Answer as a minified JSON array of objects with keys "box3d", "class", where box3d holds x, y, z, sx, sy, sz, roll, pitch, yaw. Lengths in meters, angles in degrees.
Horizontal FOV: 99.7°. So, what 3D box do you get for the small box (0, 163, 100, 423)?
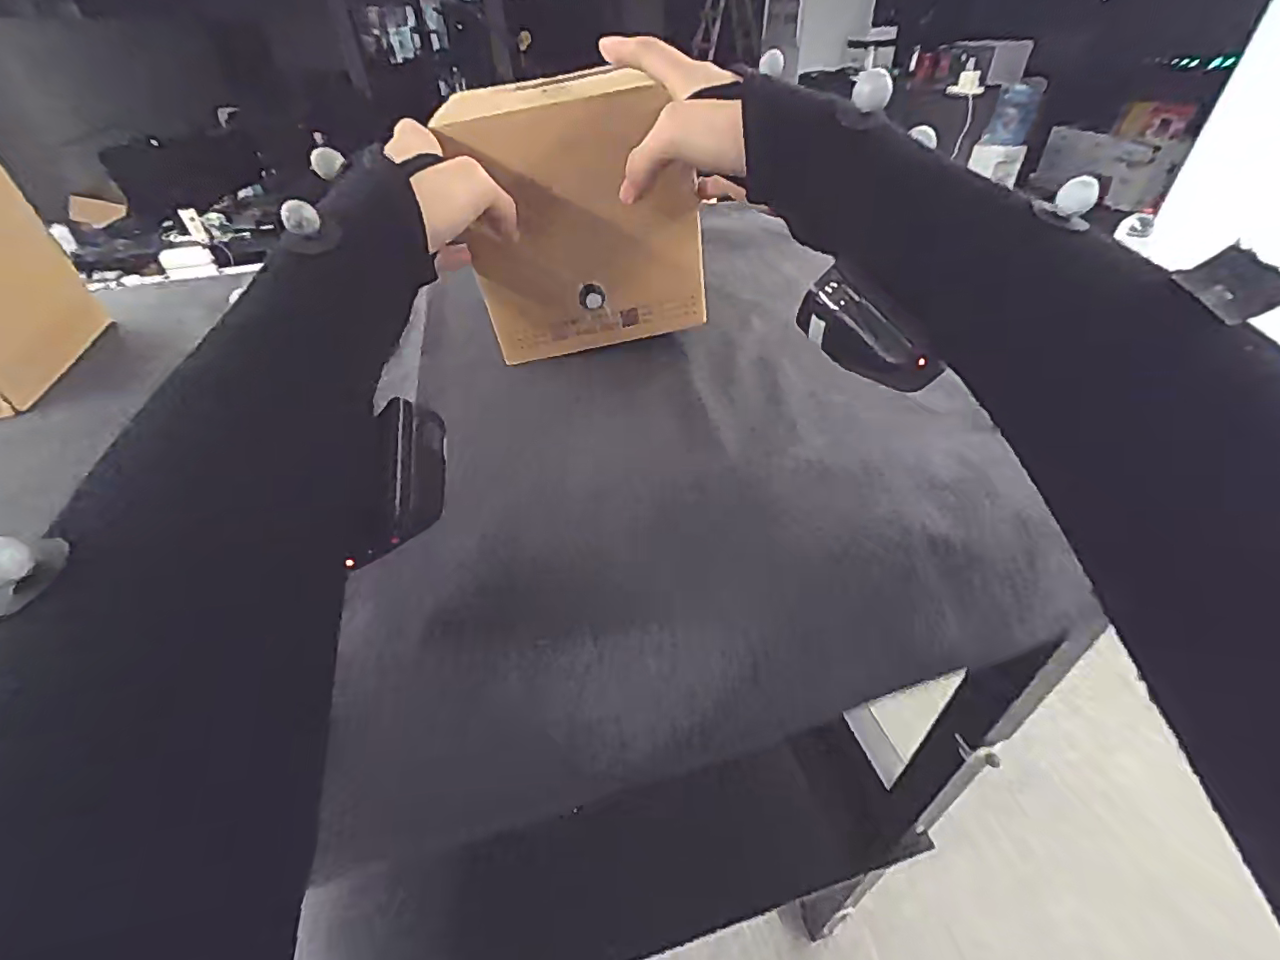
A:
[{"box3d":[-0.570,-0.142,0.399,0.168,0.176,0.179,-14,43,-12],"class":"small box"}]
